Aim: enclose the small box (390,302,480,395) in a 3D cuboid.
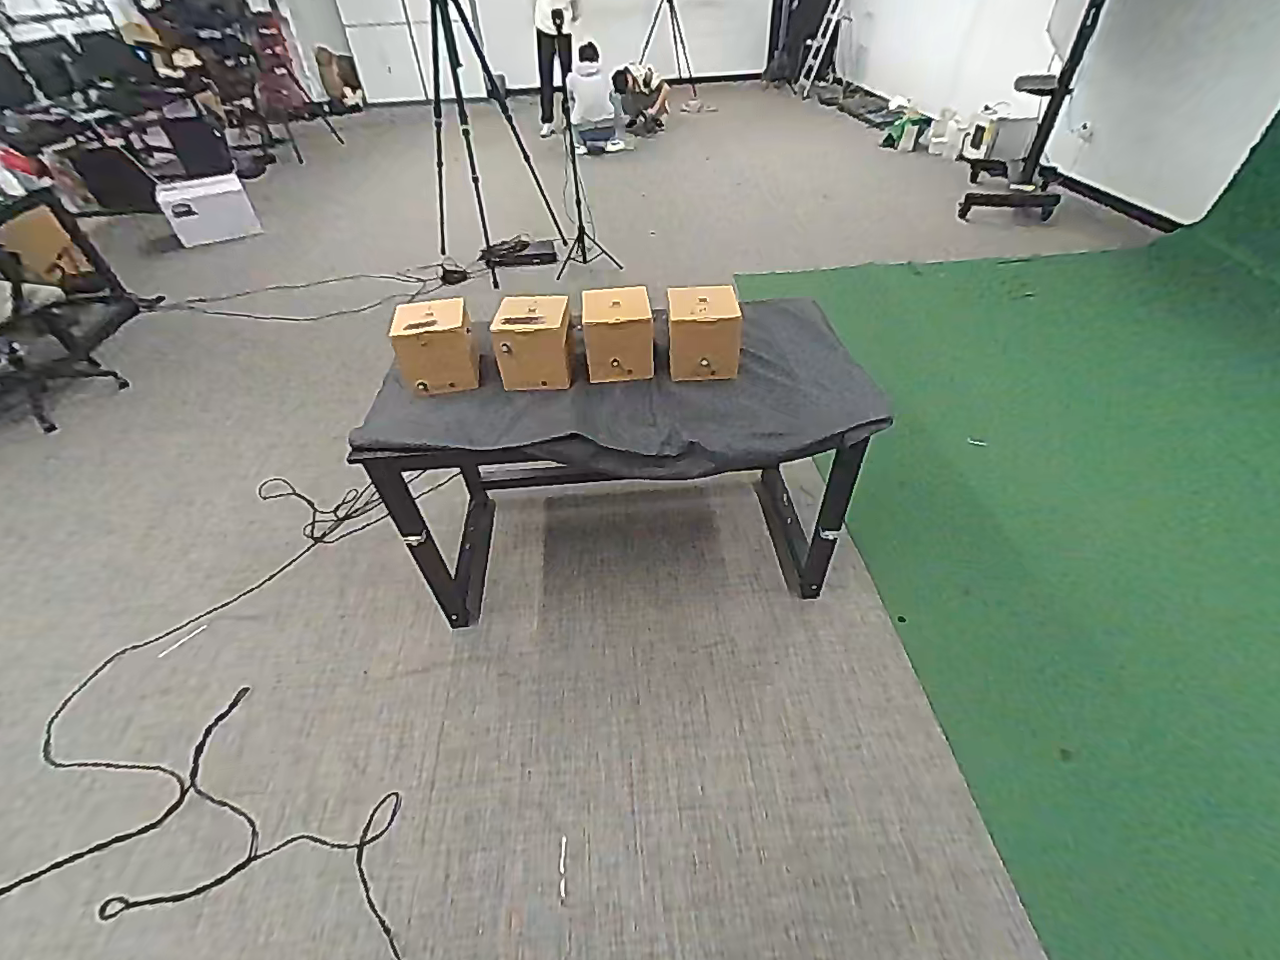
[{"bbox_3d":[-0.505,-0.324,1.357,0.168,0.176,0.179,-9,42,-7],"label":"small box"}]
